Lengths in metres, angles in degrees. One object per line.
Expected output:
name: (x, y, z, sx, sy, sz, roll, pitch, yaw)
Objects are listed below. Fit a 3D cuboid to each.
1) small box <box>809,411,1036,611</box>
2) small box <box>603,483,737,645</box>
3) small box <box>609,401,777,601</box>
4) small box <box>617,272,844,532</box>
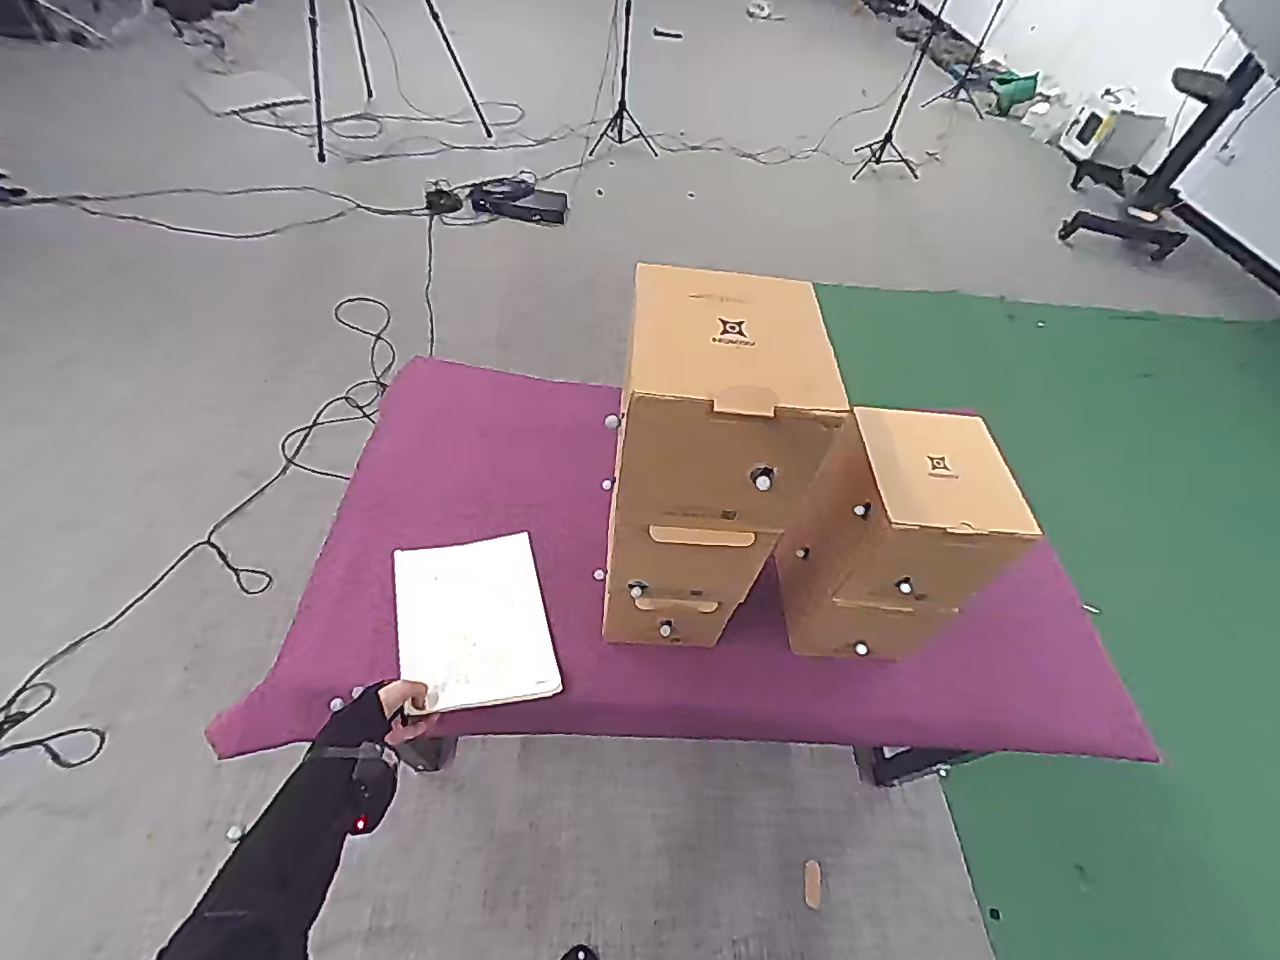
small box: (0.324, 0.041, 0.668, 0.168, 0.176, 0.179, 5, 51, -4)
small box: (0.036, 0.125, 0.776, 0.168, 0.176, 0.179, 5, 52, -4)
small box: (0.052, 0.029, 0.643, 0.168, 0.176, 0.179, 4, 51, -4)
small box: (0.068, -0.068, 0.513, 0.168, 0.176, 0.179, 5, 51, -4)
